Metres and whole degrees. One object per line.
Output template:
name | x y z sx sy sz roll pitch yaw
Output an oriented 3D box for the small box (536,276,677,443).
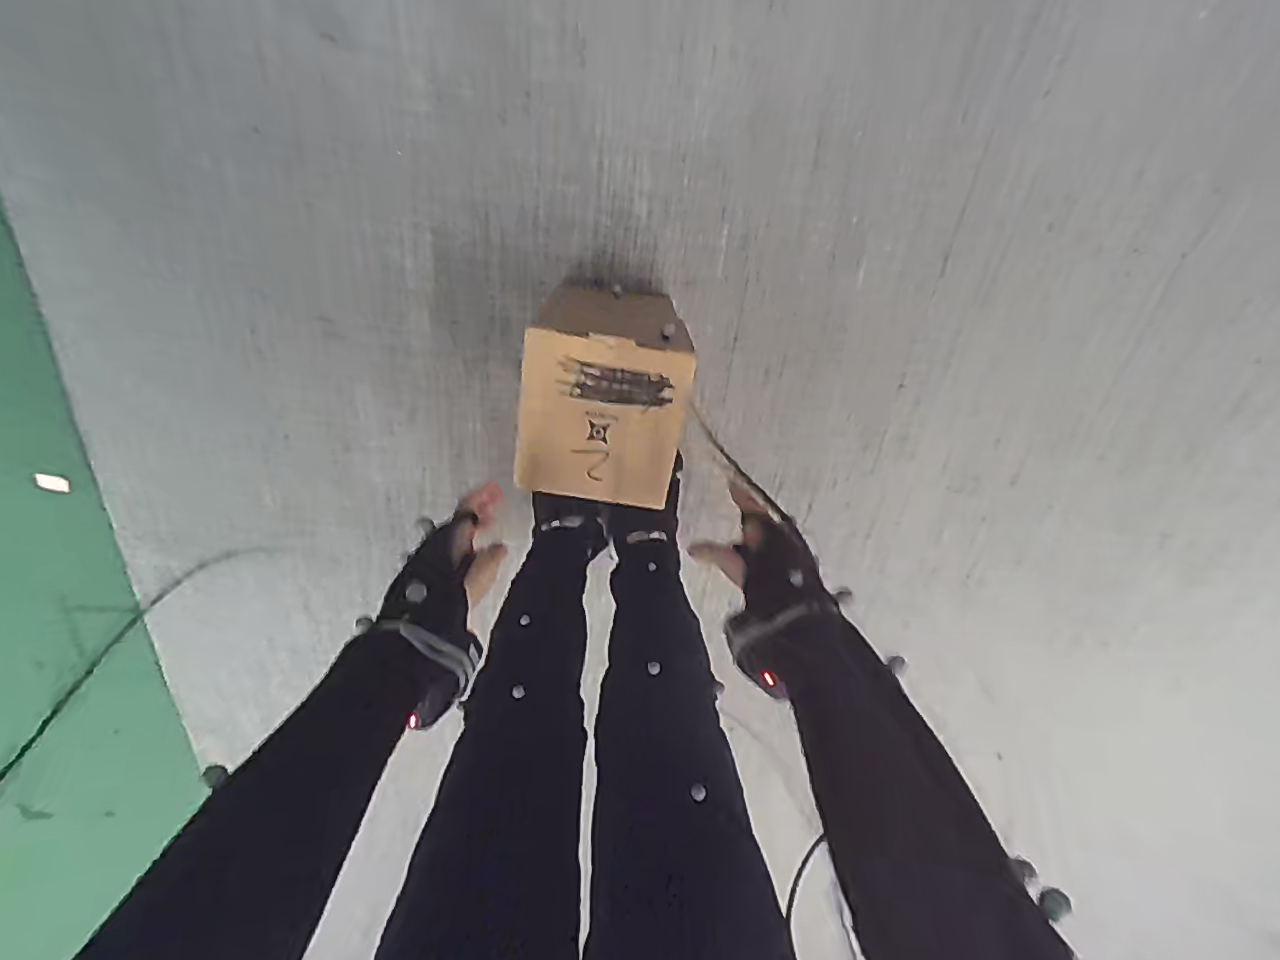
small box | -0.046 -0.175 0.765 0.168 0.176 0.179 8 118 -5
